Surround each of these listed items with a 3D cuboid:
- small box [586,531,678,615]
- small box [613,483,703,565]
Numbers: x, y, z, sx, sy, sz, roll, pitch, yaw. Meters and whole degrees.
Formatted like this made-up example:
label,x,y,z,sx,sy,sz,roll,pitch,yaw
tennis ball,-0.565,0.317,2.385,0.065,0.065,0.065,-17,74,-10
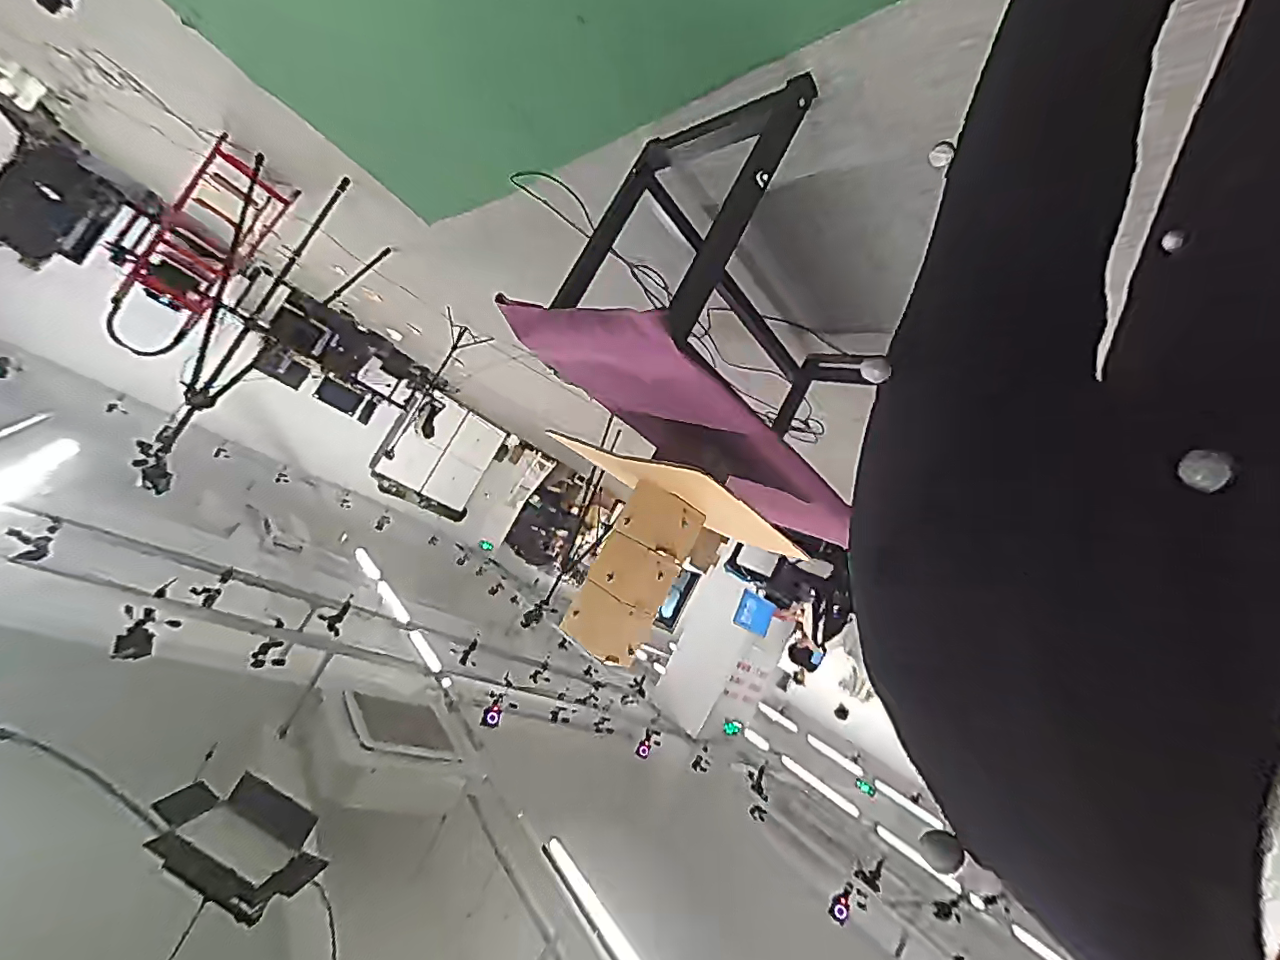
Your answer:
label,x,y,z,sx,sy,sz,roll,pitch,yaw
small box,-0.021,0.268,1.600,0.179,0.176,0.168,21,169,48
small box,0.057,0.126,1.619,0.179,0.176,0.168,21,170,48
